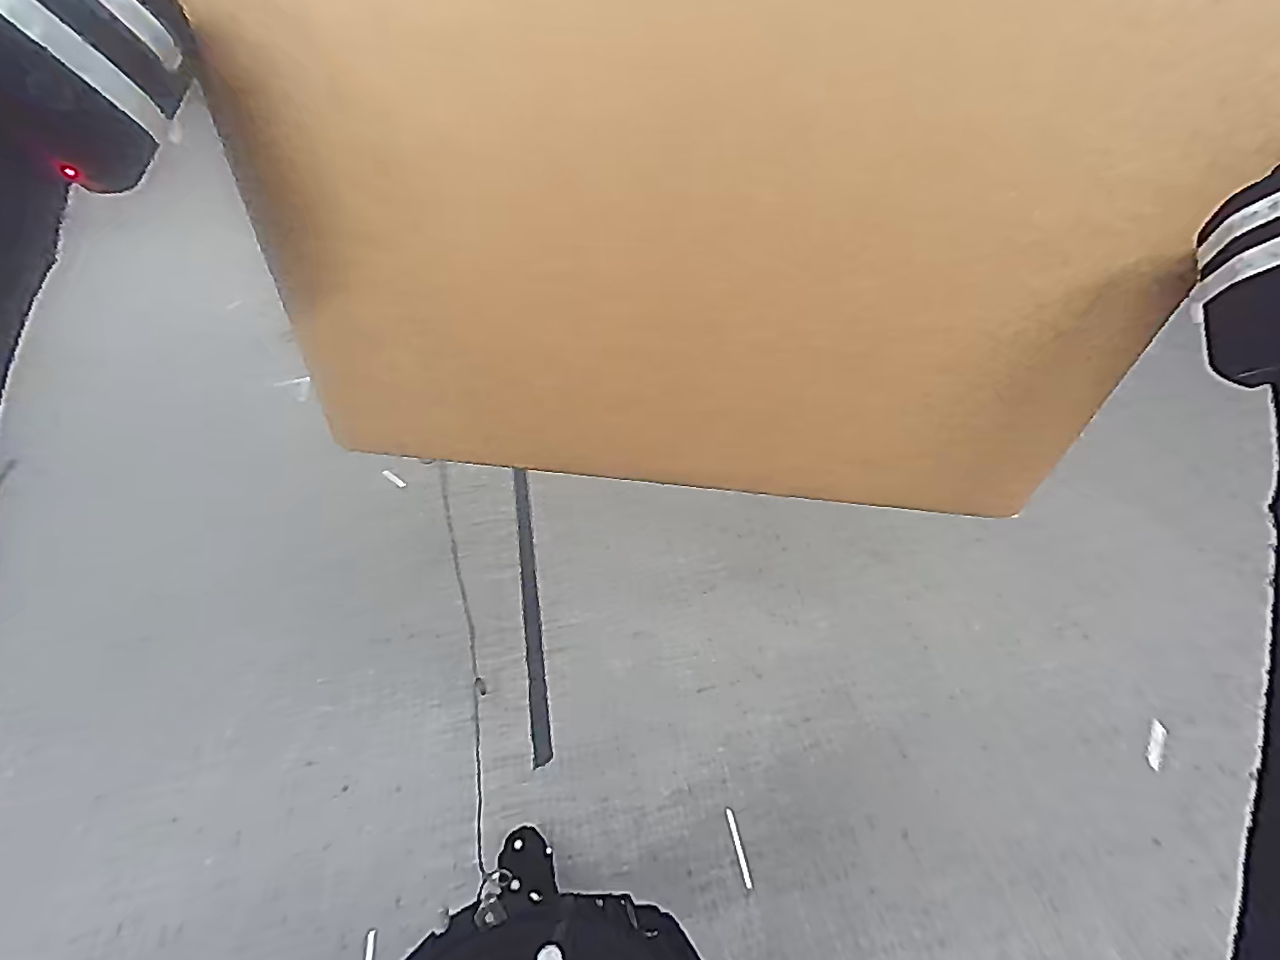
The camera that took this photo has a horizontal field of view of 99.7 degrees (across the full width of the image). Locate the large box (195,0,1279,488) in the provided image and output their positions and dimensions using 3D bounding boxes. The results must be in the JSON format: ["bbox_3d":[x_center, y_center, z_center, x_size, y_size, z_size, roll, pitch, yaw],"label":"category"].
[{"bbox_3d":[0.036,-0.218,0.338,0.408,0.320,0.320,6,42,-2],"label":"large box"}]
